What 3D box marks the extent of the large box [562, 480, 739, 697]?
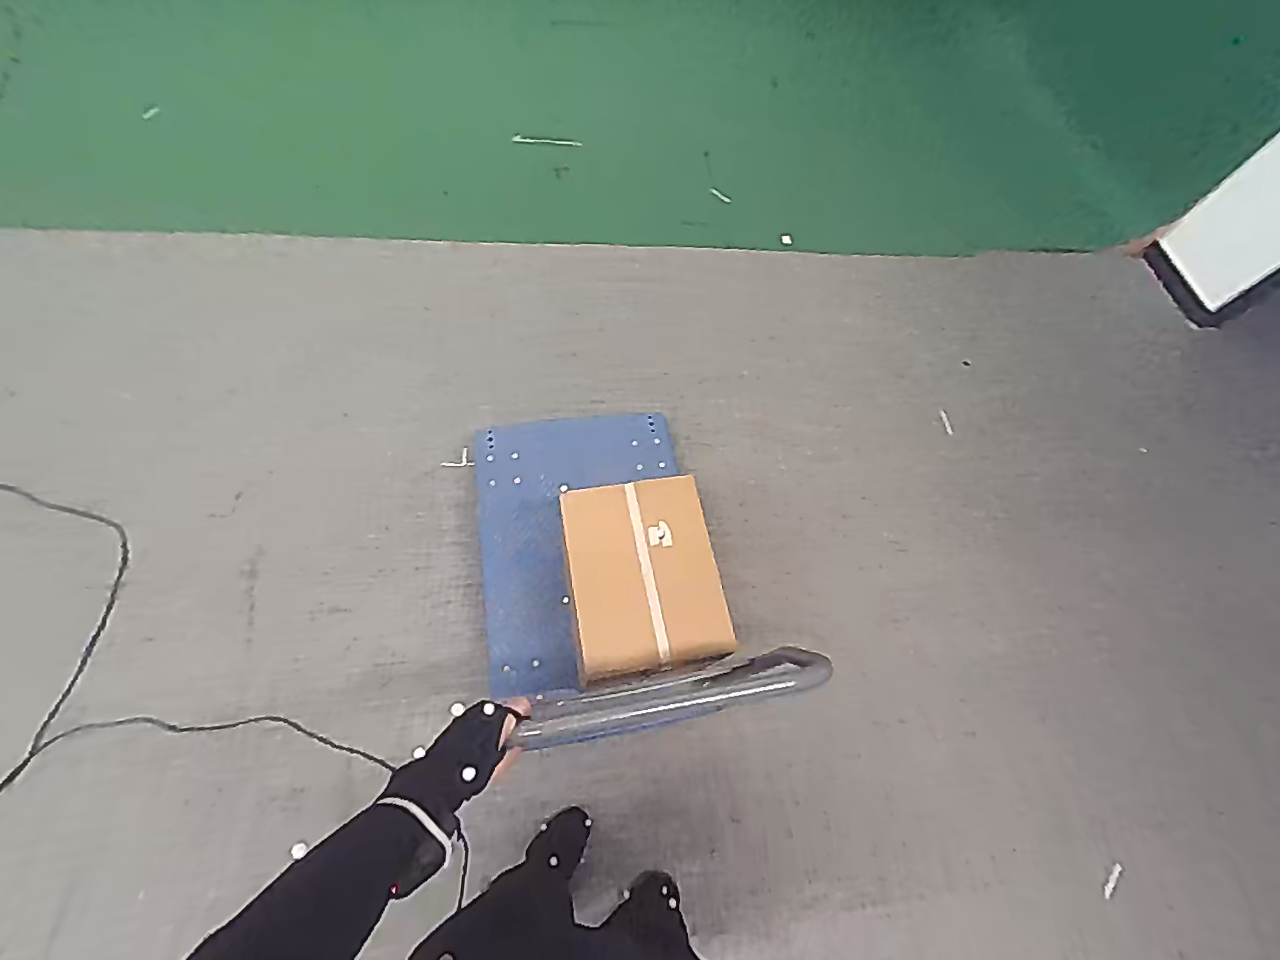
[{"bbox_3d":[-0.002,0.260,1.275,0.320,0.320,0.408,-6,64,-12],"label":"large box"}]
